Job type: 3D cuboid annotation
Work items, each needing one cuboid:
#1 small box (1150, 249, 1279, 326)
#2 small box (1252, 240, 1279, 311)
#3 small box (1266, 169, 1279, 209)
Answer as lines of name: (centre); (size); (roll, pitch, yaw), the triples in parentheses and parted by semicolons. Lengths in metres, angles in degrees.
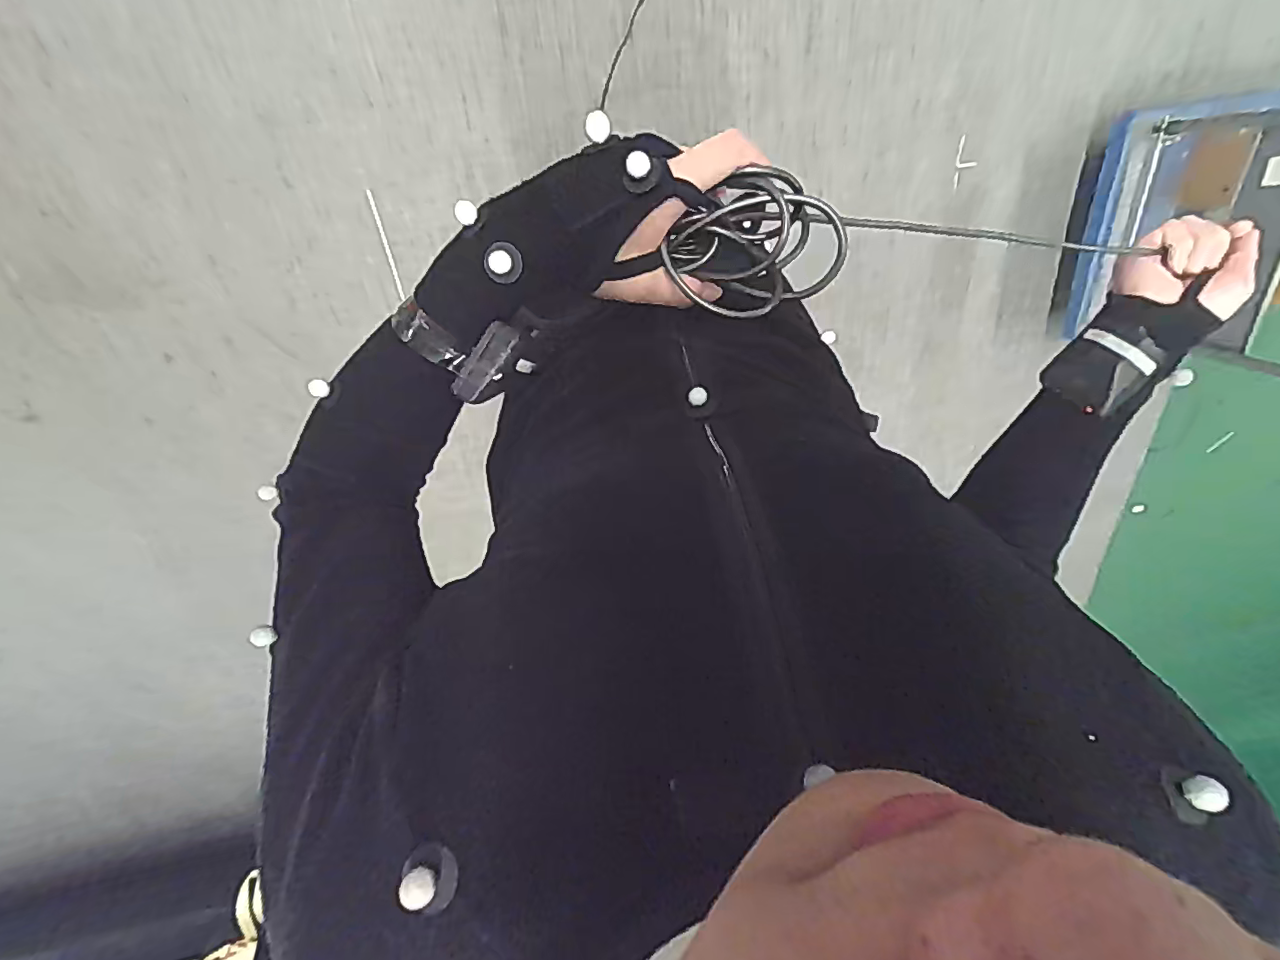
small box: (1.564, -0.527, 1.467); (0.179, 0.176, 0.168); (-9, 118, -5)
small box: (1.829, -0.574, 1.491); (0.179, 0.176, 0.168); (-13, 117, -3)
small box: (1.783, -0.791, 1.374); (0.179, 0.176, 0.168); (-13, 119, -4)
